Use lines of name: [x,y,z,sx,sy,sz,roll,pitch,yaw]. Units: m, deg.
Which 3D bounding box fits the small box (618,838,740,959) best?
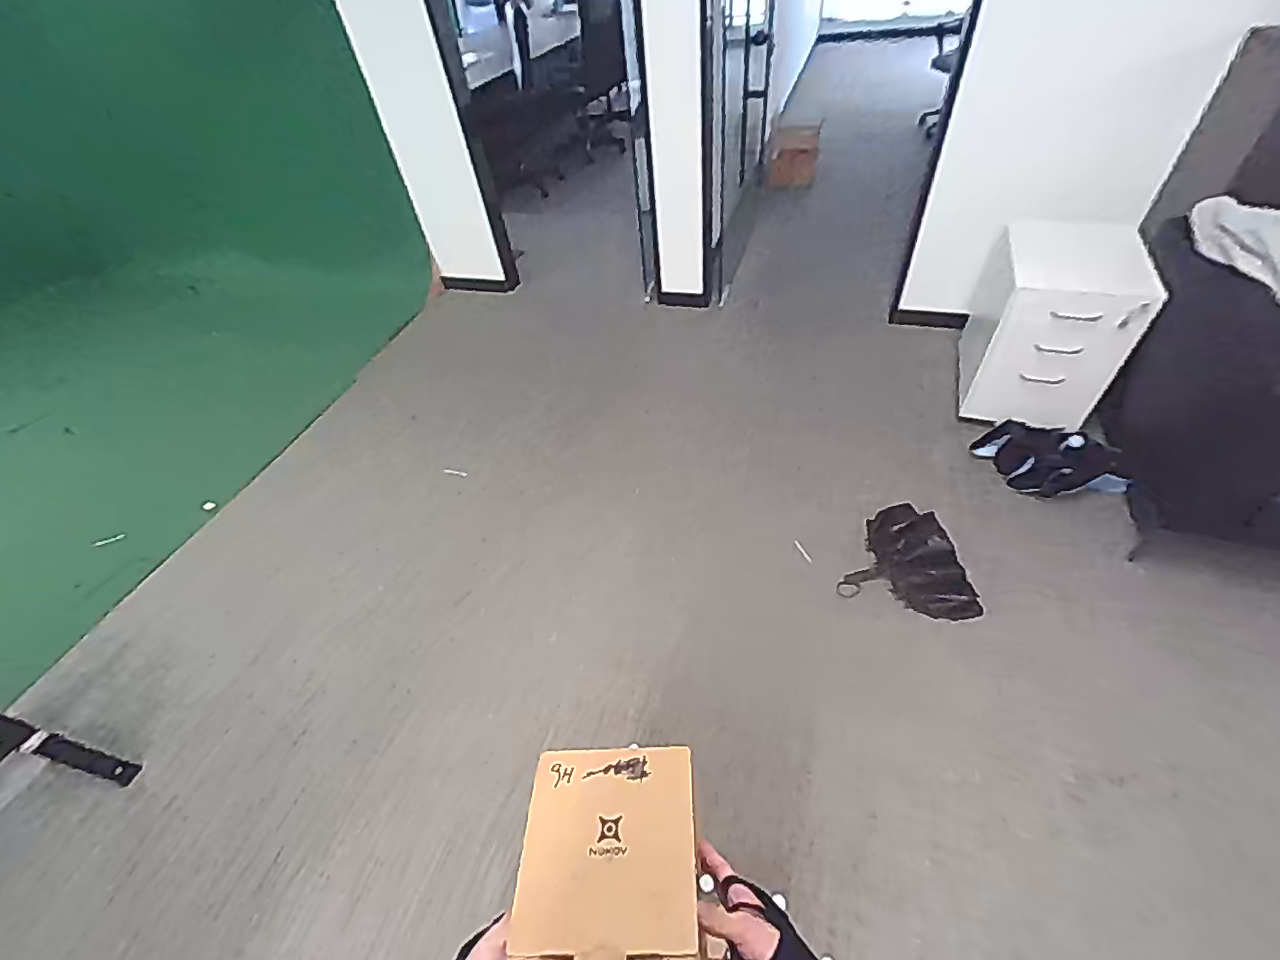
small box: [0.078,0.837,1.036,0.168,0.176,0.179,20,53,24]
